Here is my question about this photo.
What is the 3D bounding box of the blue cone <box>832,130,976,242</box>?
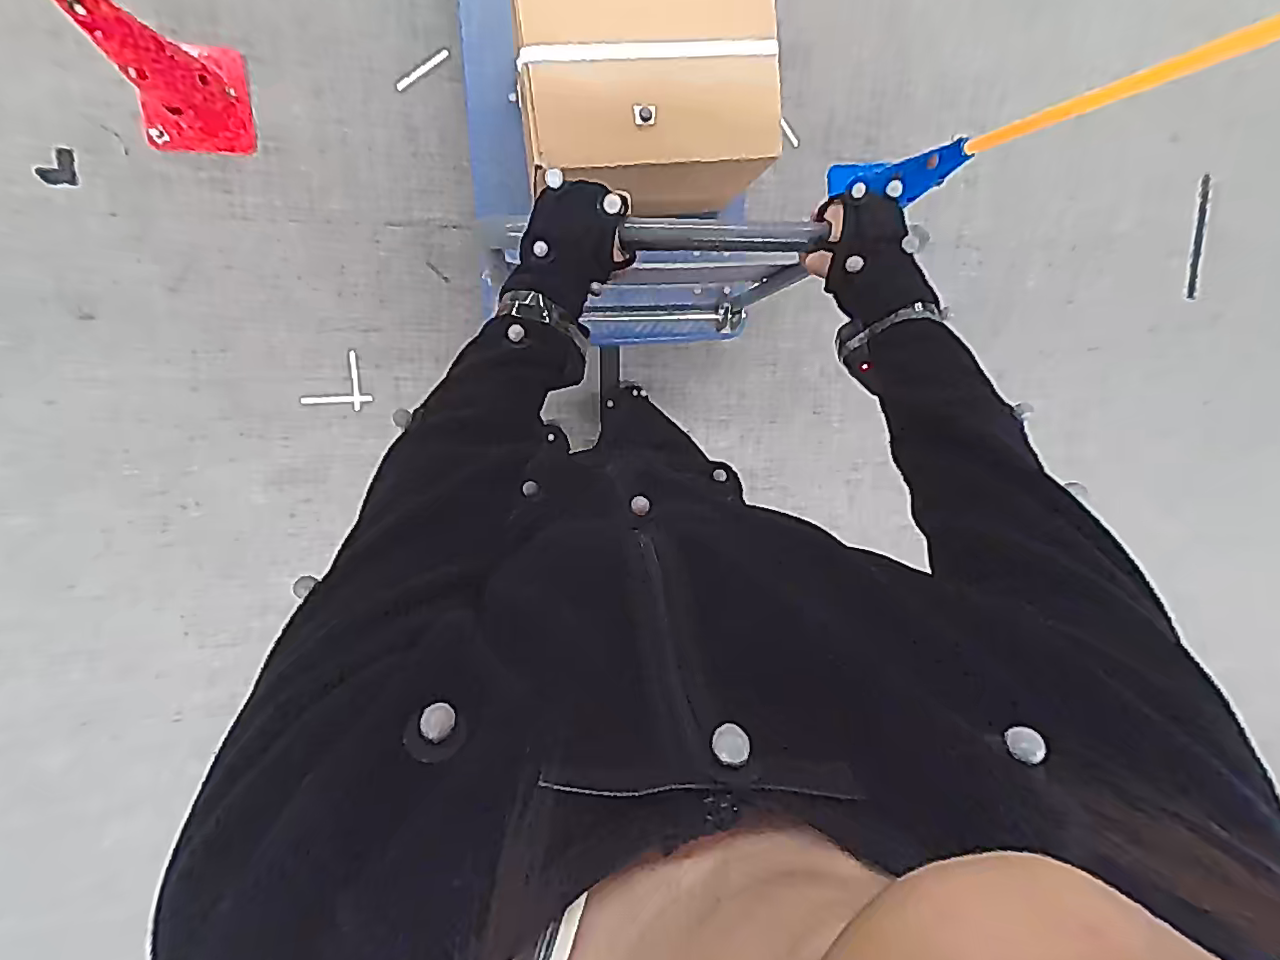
[{"bbox_3d":[0.633,-0.710,1.277,0.193,0.380,0.192,-6,100,-11],"label":"blue cone"}]
